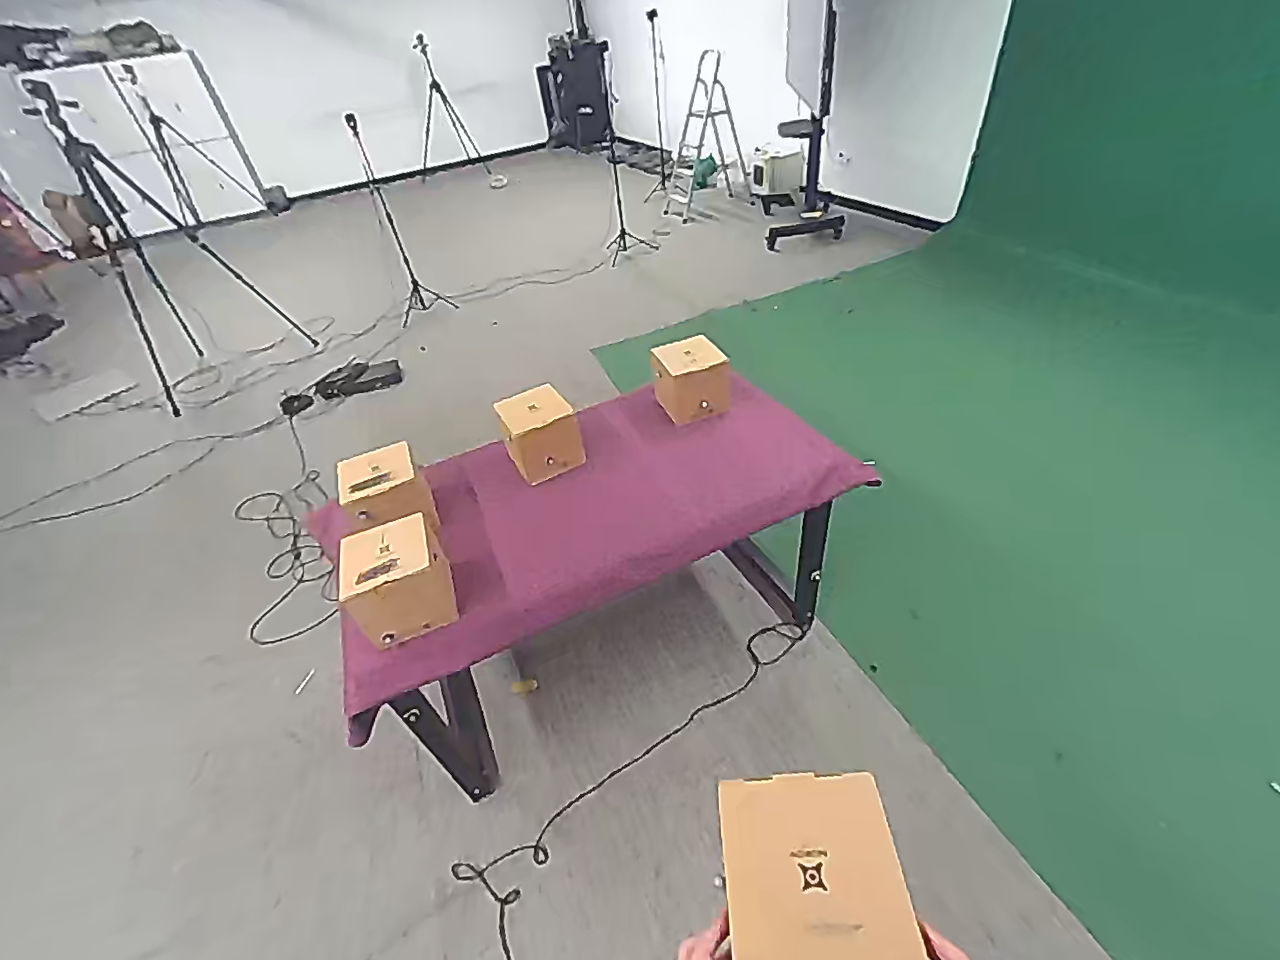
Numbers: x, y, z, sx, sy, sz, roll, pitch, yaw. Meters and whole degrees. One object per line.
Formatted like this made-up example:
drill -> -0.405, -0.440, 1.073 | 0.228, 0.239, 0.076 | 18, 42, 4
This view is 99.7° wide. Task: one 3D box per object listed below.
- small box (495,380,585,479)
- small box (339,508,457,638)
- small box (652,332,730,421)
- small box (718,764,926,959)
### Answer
small box -> -0.263, -0.133, 1.430 | 0.168, 0.176, 0.179 | -25, 45, -18
small box -> -0.484, 0.193, 1.094 | 0.168, 0.176, 0.179 | -20, 41, -13
small box -> 0.145, -0.295, 1.541 | 0.168, 0.176, 0.179 | -18, 43, -10
small box -> 0.174, 0.426, 0.567 | 0.168, 0.176, 0.179 | -7, 40, 7
